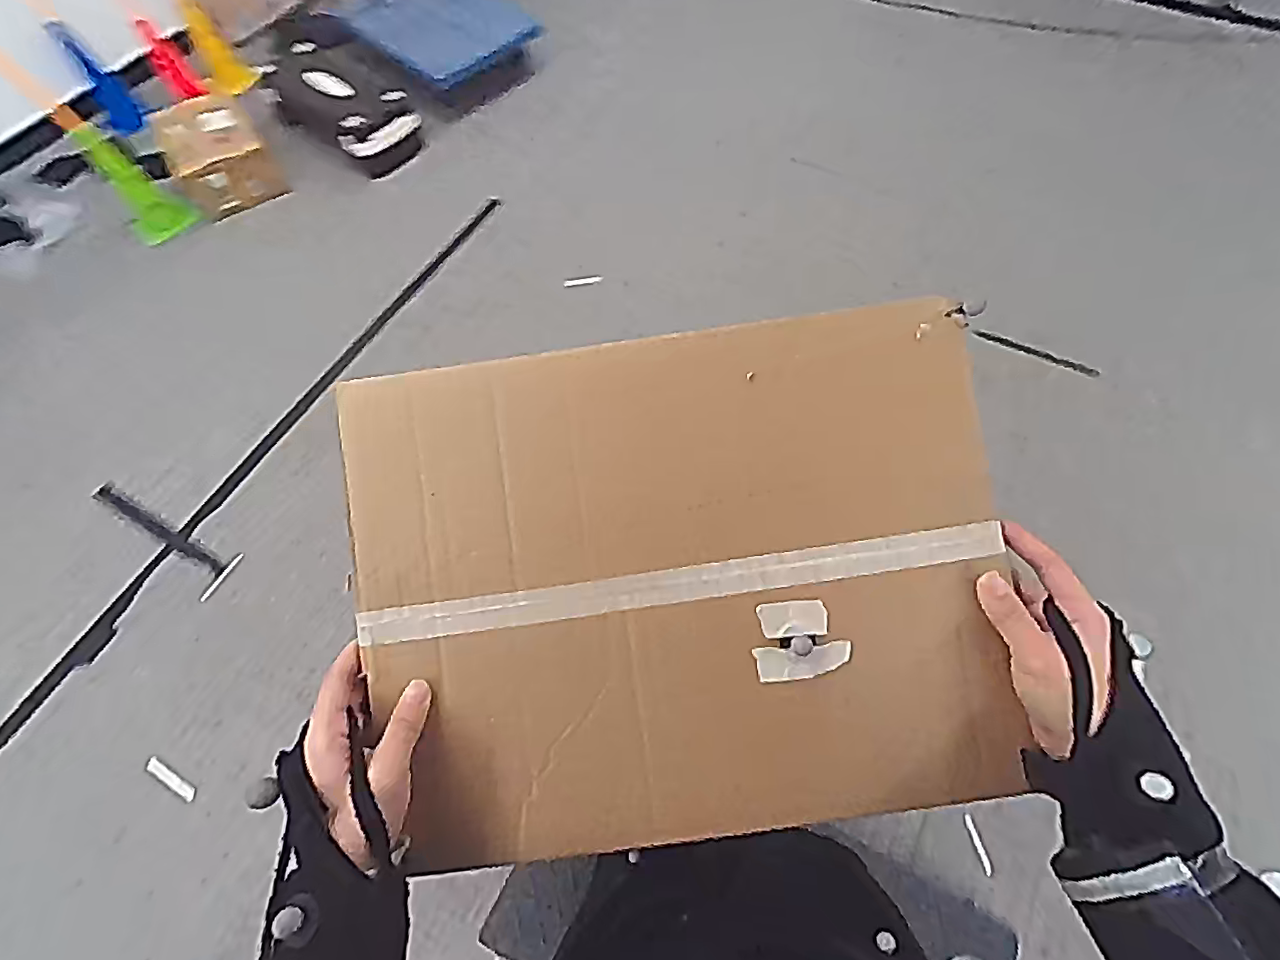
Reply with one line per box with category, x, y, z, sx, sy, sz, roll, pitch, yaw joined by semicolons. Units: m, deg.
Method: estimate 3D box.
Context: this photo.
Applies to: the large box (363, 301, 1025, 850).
large box;0.030;0.068;0.501;0.408;0.320;0.320;-8;88;1
